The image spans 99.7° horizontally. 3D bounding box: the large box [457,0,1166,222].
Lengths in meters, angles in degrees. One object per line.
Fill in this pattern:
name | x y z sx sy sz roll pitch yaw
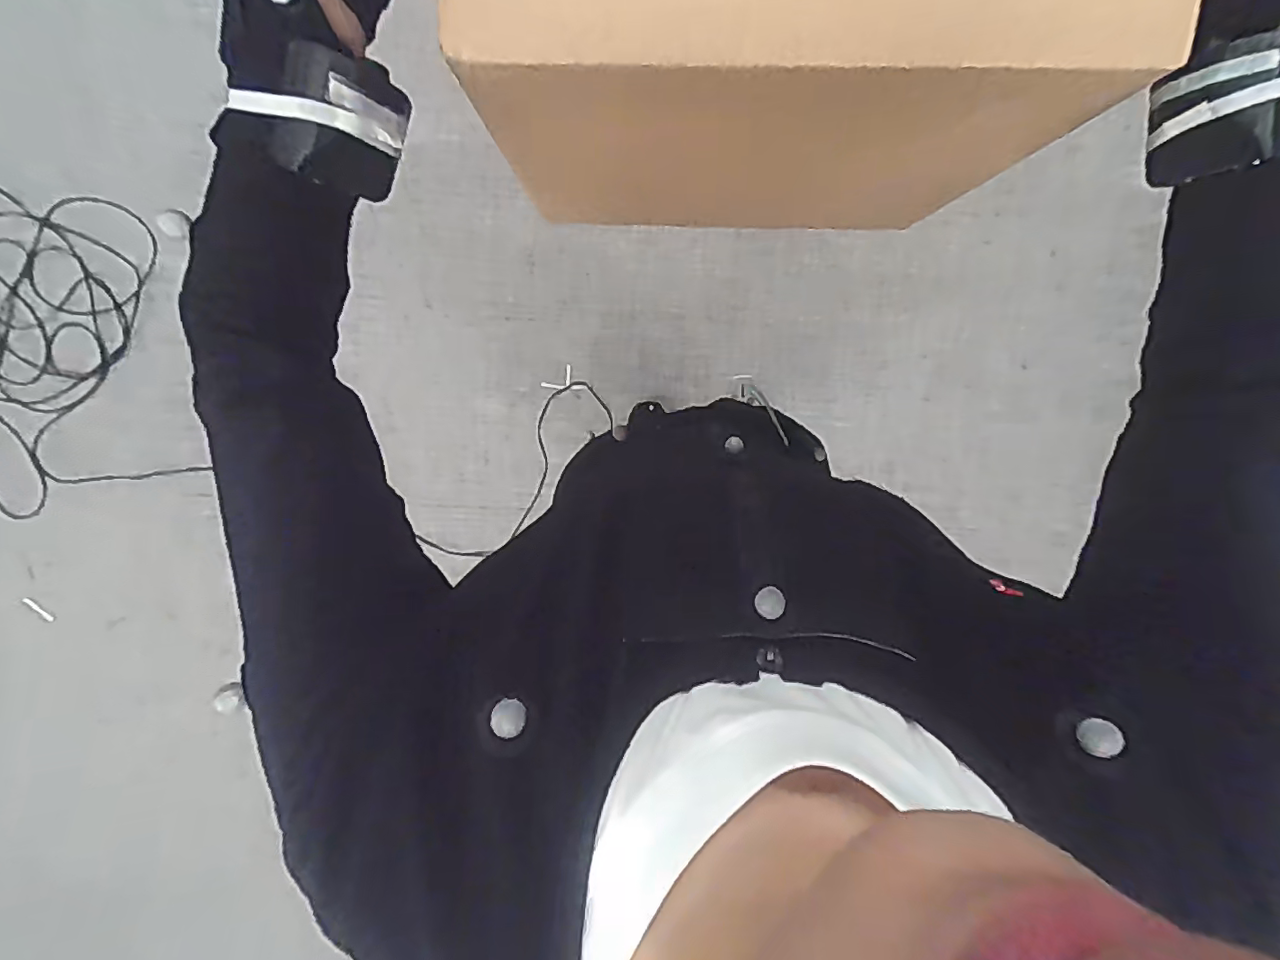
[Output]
large box | 0.093 -0.414 0.426 0.408 0.320 0.320 0 101 1
